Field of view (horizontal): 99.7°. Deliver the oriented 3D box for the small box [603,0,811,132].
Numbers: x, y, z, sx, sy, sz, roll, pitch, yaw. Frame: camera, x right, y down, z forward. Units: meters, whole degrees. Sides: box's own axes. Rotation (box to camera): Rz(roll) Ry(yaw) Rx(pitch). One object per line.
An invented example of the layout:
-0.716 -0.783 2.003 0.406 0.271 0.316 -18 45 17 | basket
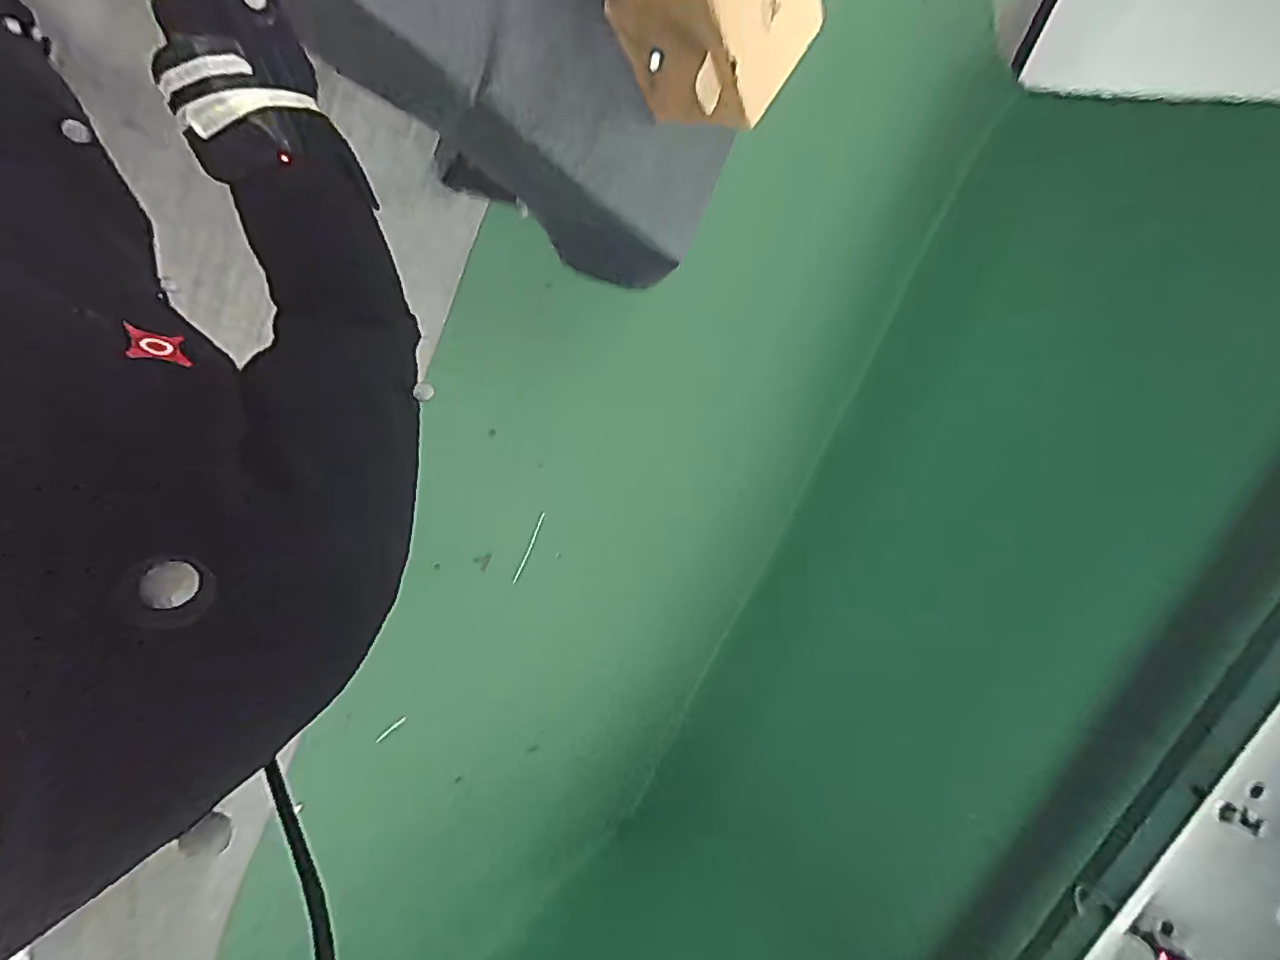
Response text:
0.085 -0.581 0.677 0.179 0.176 0.168 -57 147 -3 | small box
